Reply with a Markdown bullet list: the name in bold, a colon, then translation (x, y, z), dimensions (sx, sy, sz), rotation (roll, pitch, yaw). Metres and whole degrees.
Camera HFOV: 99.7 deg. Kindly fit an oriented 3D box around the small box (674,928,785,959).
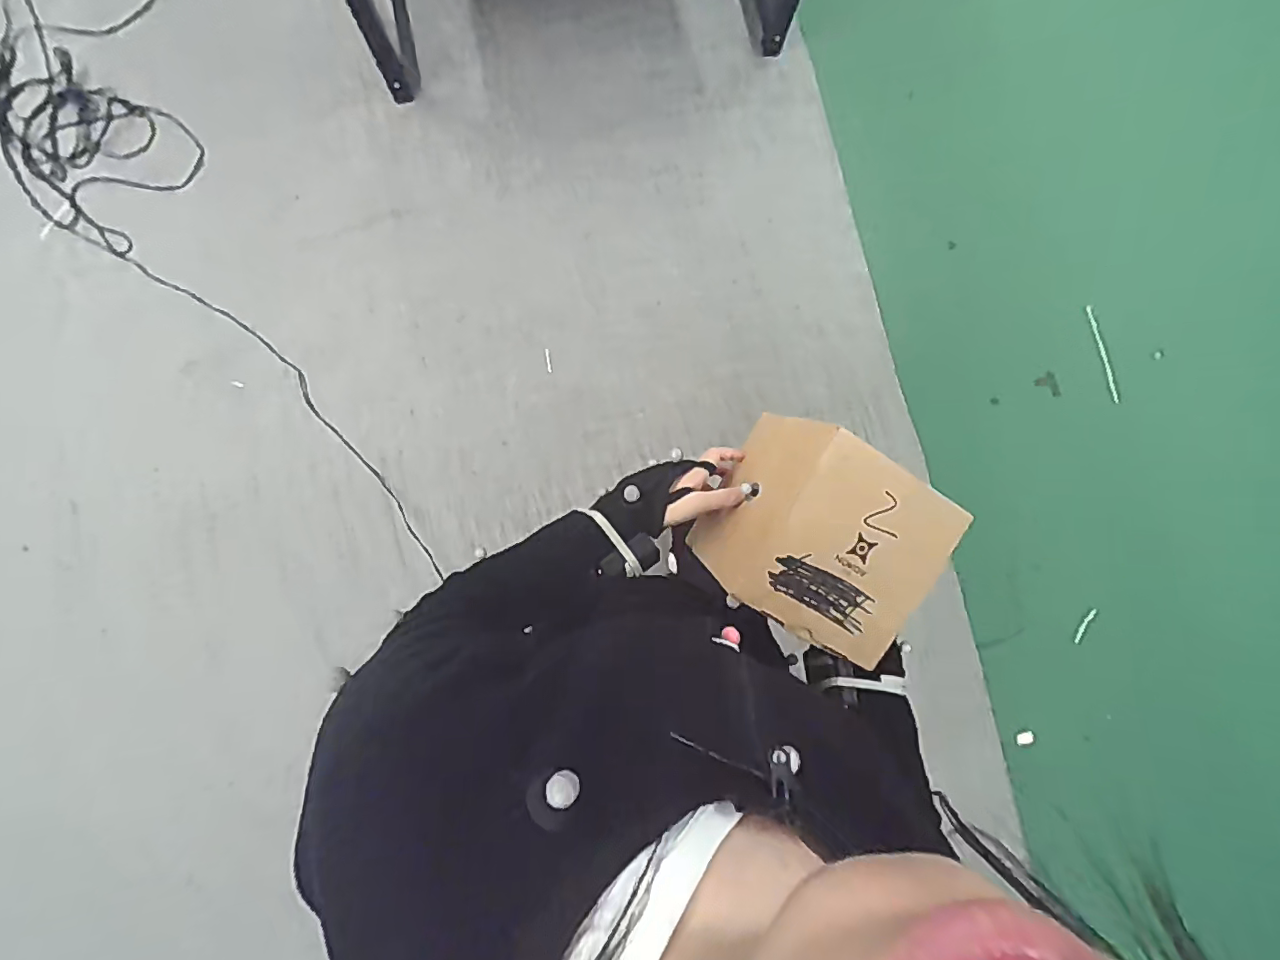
- **small box**: translation (0.149, 0.782, 0.745), dimensions (0.168, 0.176, 0.179), rotation (-11, 85, -5)
